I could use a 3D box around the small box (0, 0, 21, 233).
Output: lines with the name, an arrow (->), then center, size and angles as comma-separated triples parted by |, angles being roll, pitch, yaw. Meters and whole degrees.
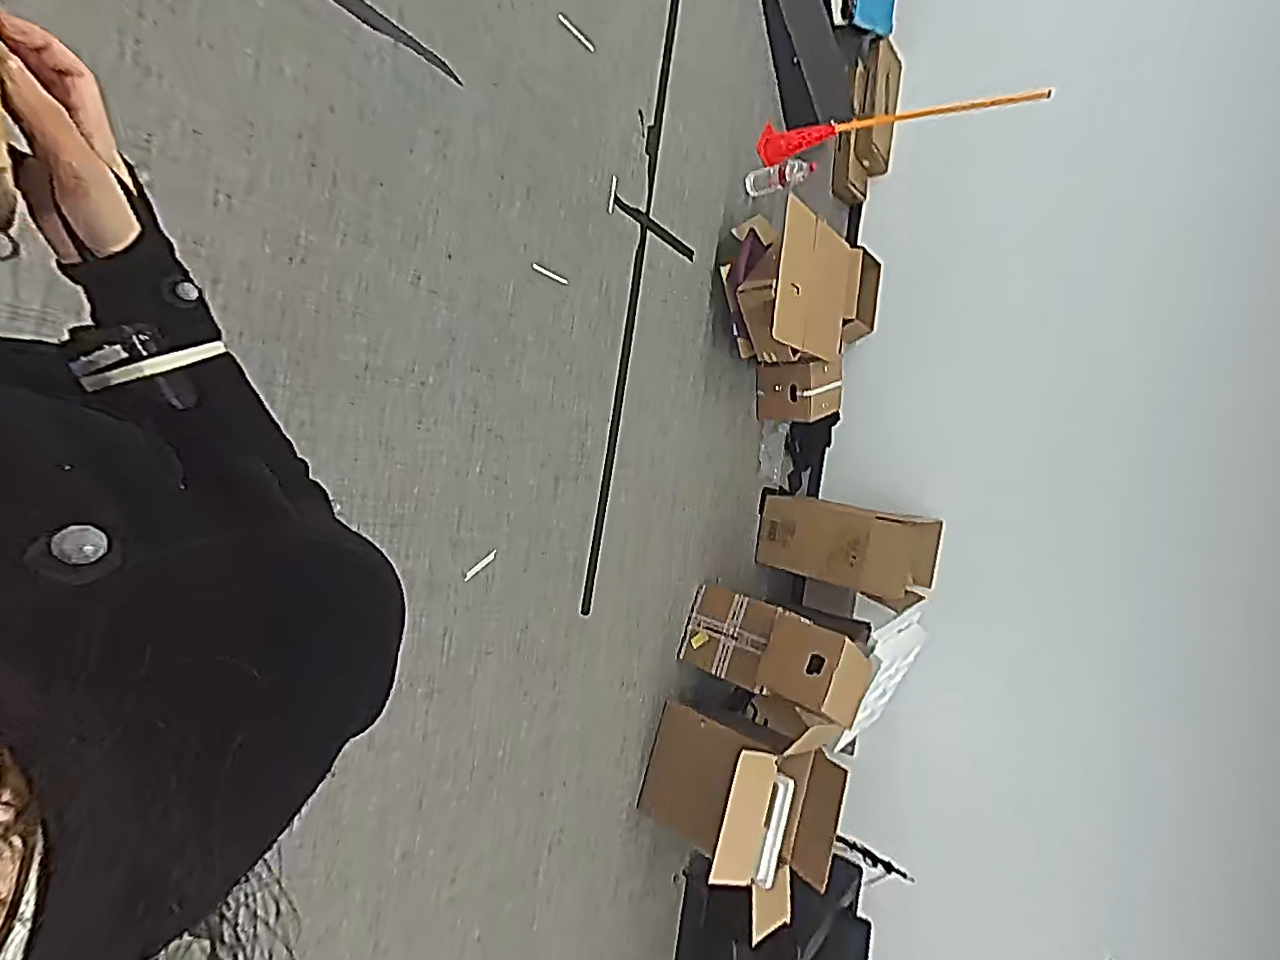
small box -> -0.406, -0.228, 0.238 | 0.168, 0.176, 0.179 | -8, 101, -49
